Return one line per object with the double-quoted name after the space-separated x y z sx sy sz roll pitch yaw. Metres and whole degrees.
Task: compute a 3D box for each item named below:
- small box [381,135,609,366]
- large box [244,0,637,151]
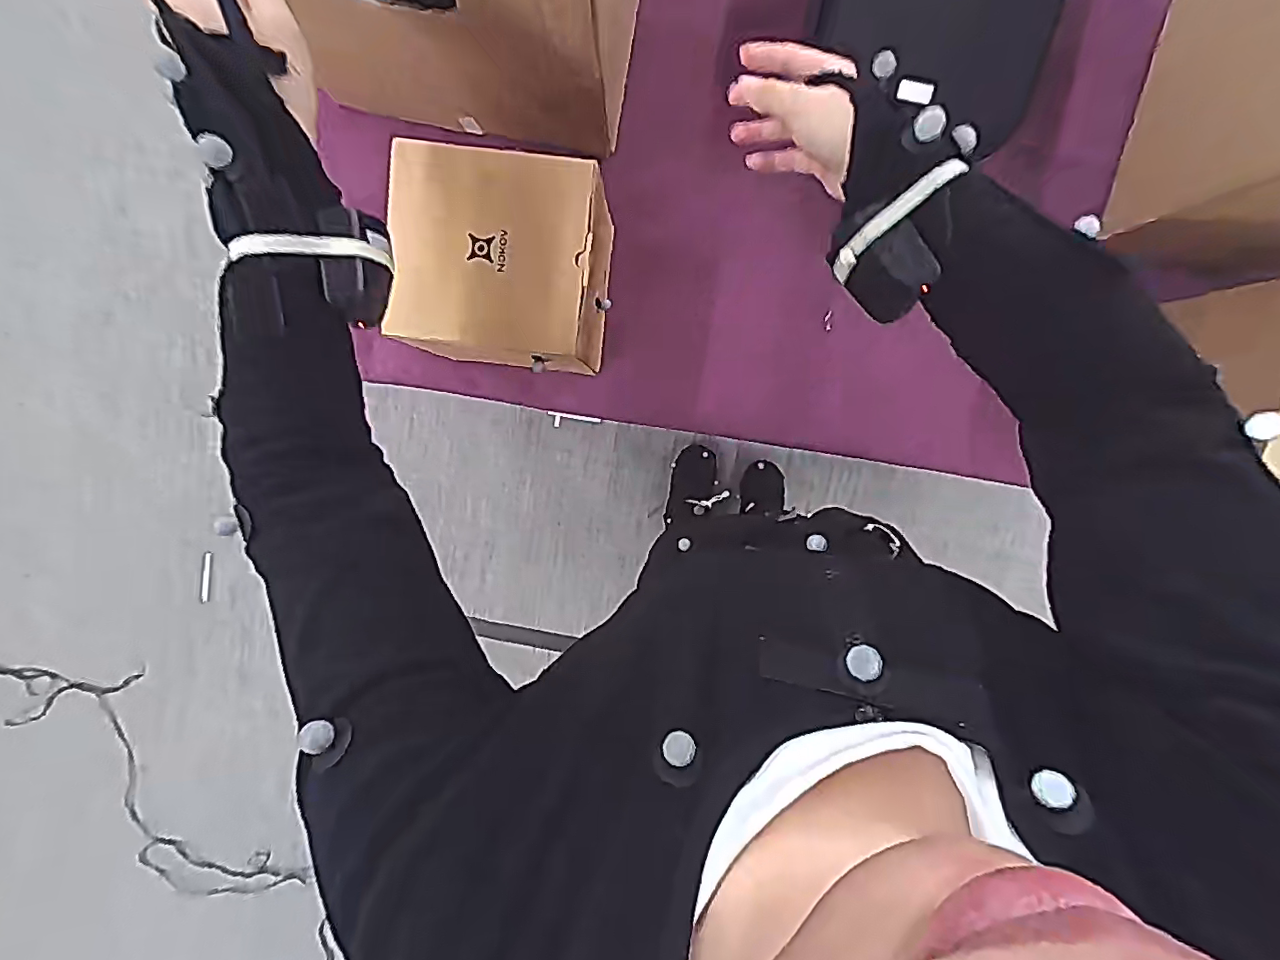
-0.131 -0.211 0.543 0.179 0.176 0.168 6 96 0 "small box"
-0.145 -0.560 0.428 0.320 0.320 0.408 9 100 -1 "large box"
